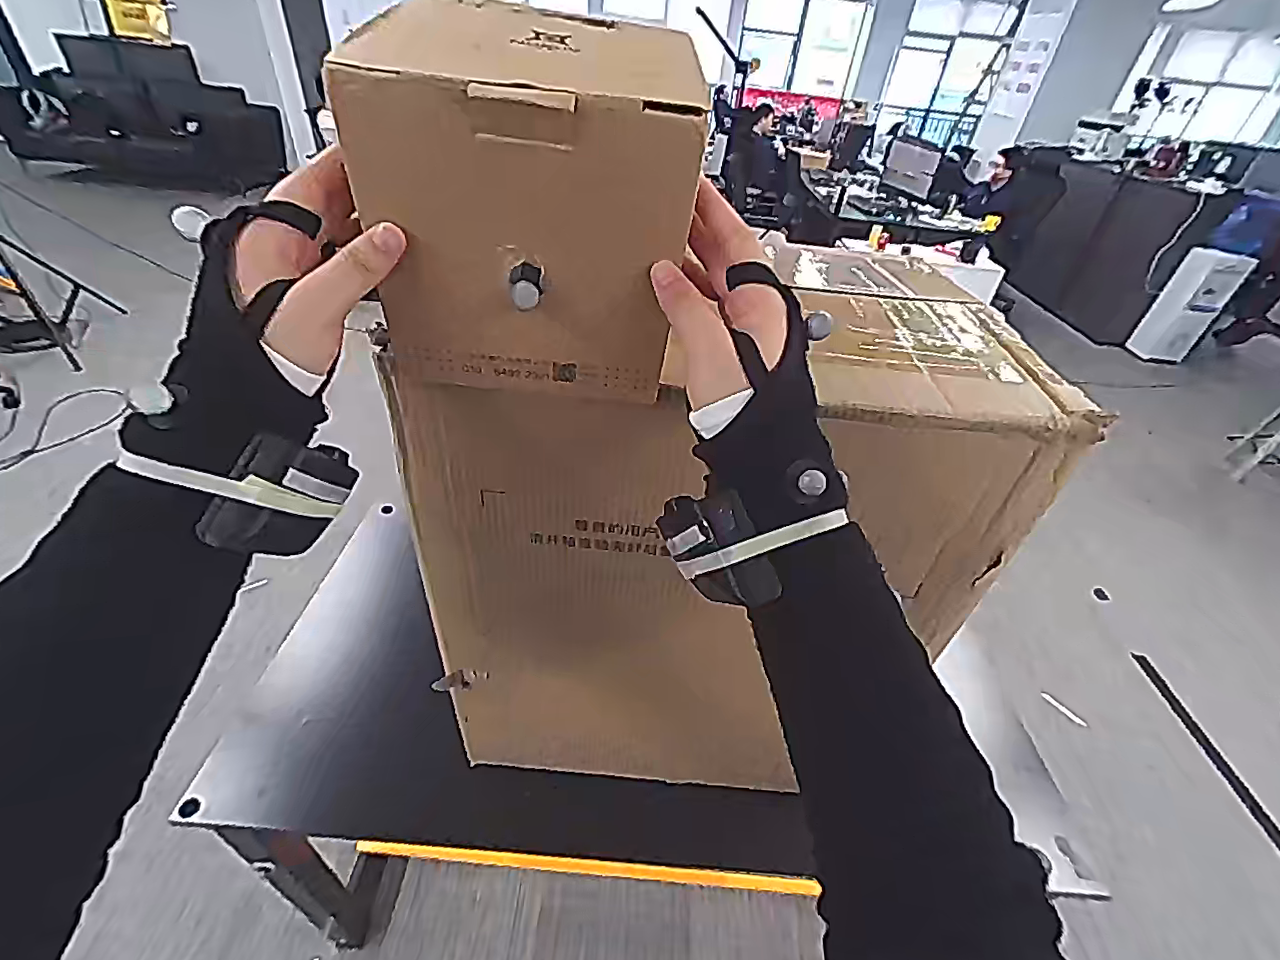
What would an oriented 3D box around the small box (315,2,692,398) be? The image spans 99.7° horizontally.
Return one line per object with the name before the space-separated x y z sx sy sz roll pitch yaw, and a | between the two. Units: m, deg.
small box | -0.064 -0.172 0.346 0.168 0.176 0.179 4 49 -5
